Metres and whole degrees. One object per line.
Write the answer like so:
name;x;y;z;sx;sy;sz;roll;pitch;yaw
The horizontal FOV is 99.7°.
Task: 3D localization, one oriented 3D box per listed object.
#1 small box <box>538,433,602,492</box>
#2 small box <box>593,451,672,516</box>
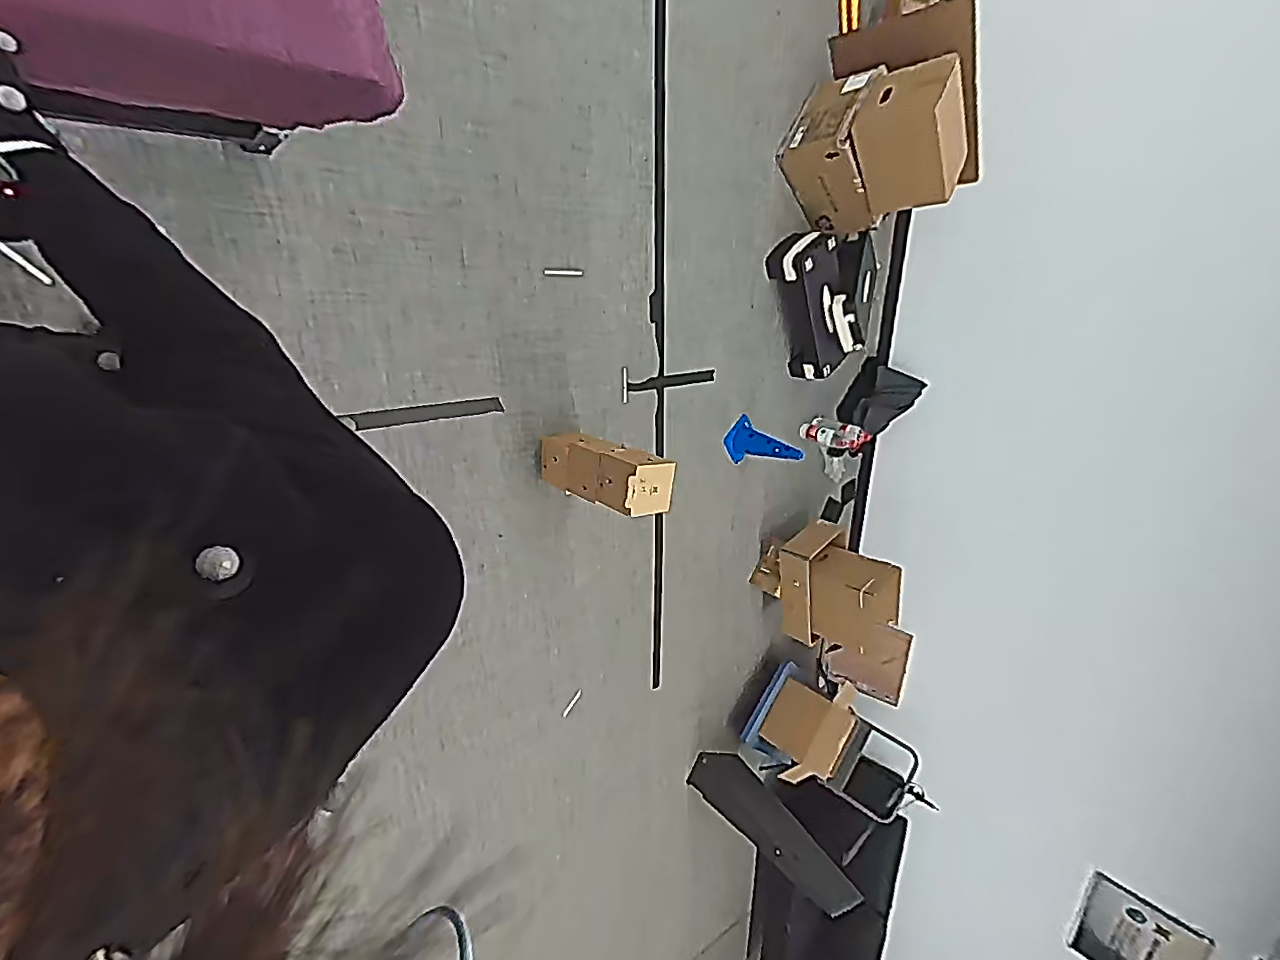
small box;-0.257;-0.068;1.963;0.179;0.176;0.168;-12;114;-41
small box;-0.026;0.005;1.738;0.179;0.176;0.168;-5;109;-42
